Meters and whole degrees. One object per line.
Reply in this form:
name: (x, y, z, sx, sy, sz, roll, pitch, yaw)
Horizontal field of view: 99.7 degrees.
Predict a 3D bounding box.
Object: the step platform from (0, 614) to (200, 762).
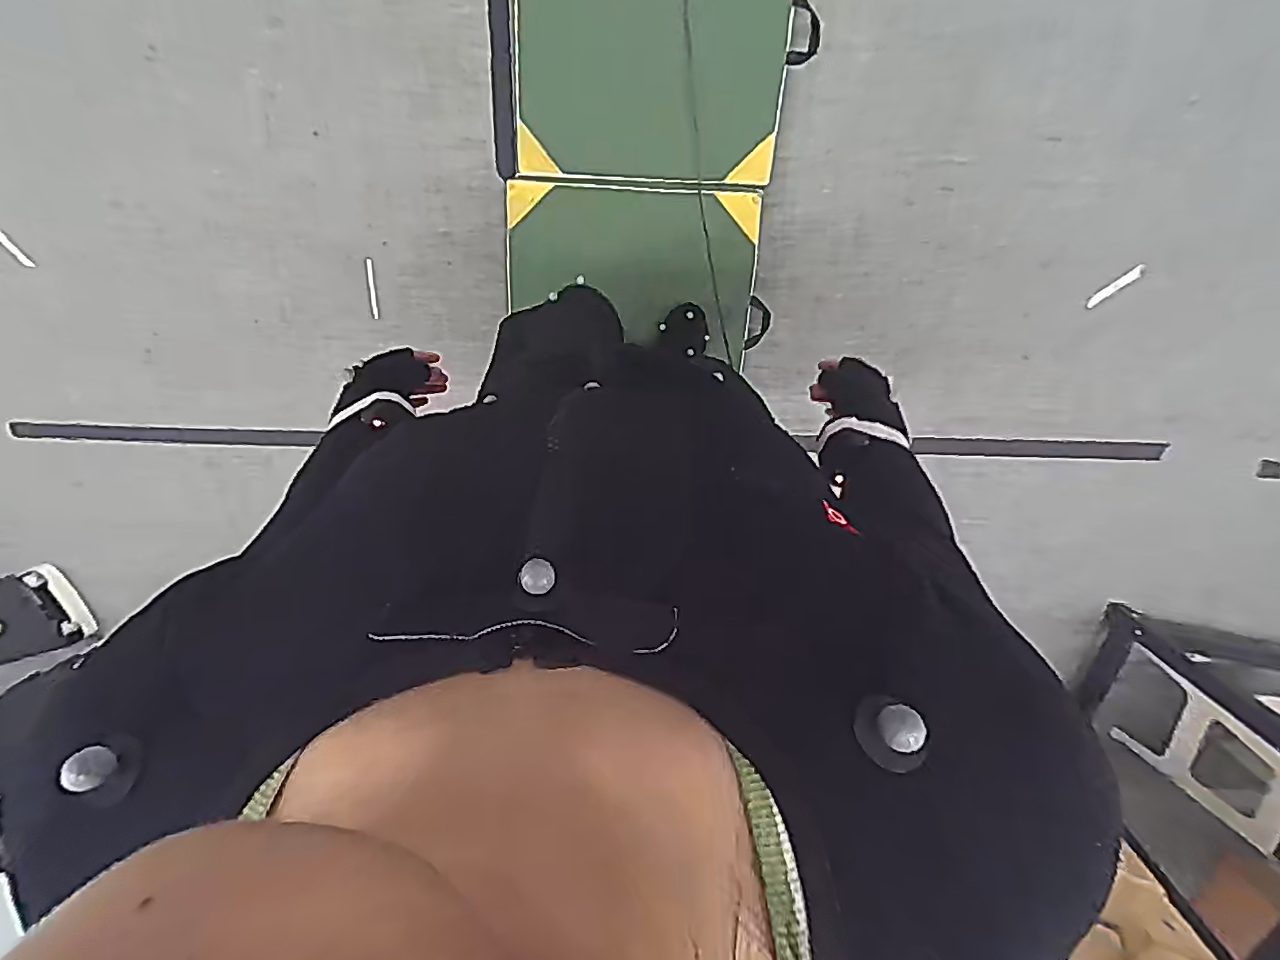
step platform: (-1.935, 0.734, 1.897, 0.684, 0.204, 0.286, -25, 106, 12)
